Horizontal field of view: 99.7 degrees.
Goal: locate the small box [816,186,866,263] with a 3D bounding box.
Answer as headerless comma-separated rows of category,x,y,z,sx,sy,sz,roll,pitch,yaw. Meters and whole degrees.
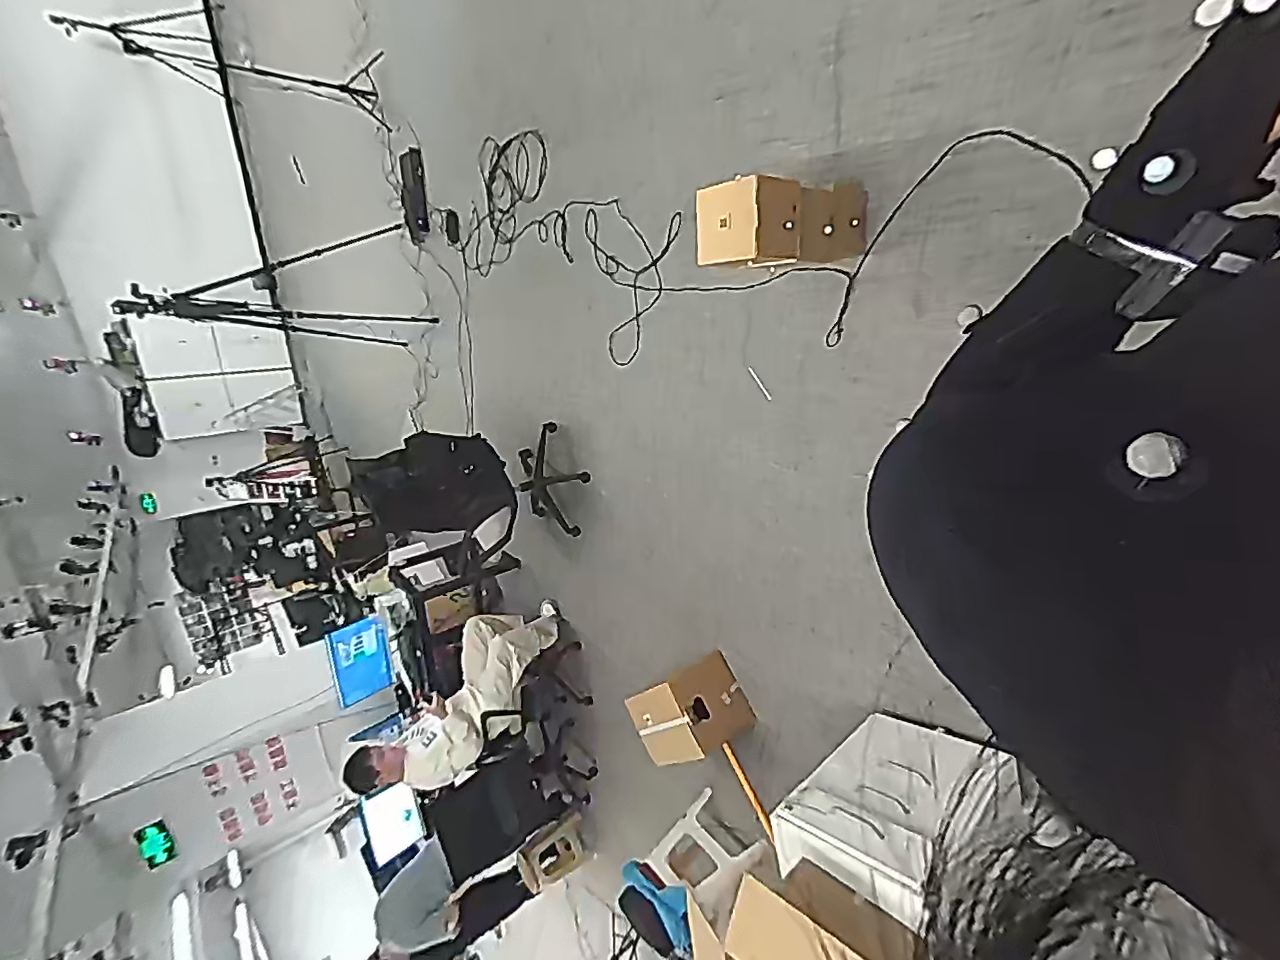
small box,0.498,-0.686,1.474,0.179,0.176,0.168,12,112,49

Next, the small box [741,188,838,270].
small box,0.377,-0.631,1.377,0.179,0.176,0.168,16,116,47

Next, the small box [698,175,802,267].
small box,0.256,-0.599,1.273,0.179,0.176,0.168,15,115,47
